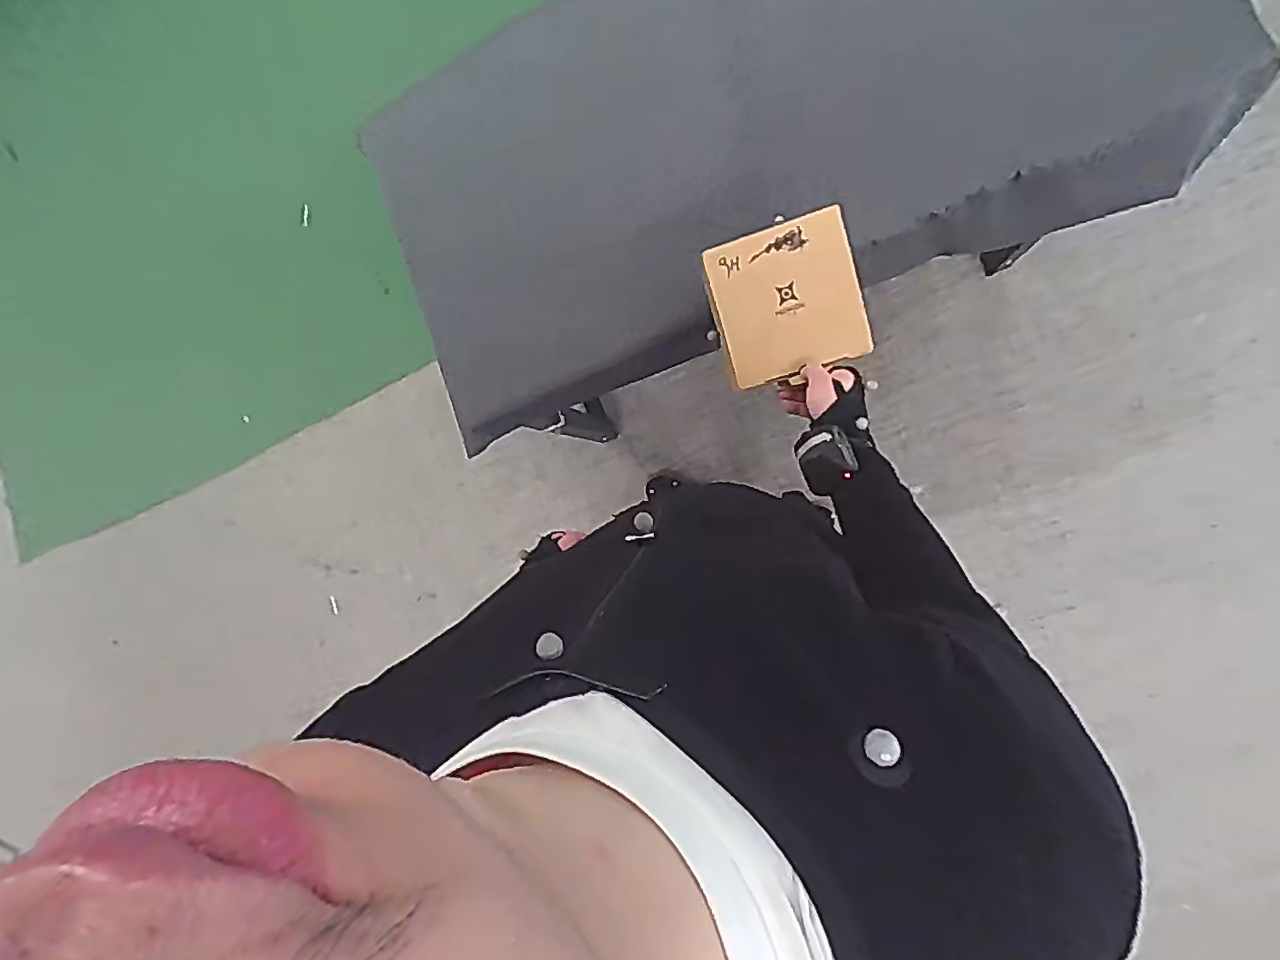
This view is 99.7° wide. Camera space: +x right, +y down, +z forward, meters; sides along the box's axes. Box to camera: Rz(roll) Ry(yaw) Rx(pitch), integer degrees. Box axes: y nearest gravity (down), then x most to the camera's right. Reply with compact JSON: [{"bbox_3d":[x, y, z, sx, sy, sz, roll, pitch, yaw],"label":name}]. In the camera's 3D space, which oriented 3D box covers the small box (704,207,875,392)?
[{"bbox_3d":[0.193,-0.228,0.728,0.168,0.176,0.179,-17,97,11],"label":"small box"}]
